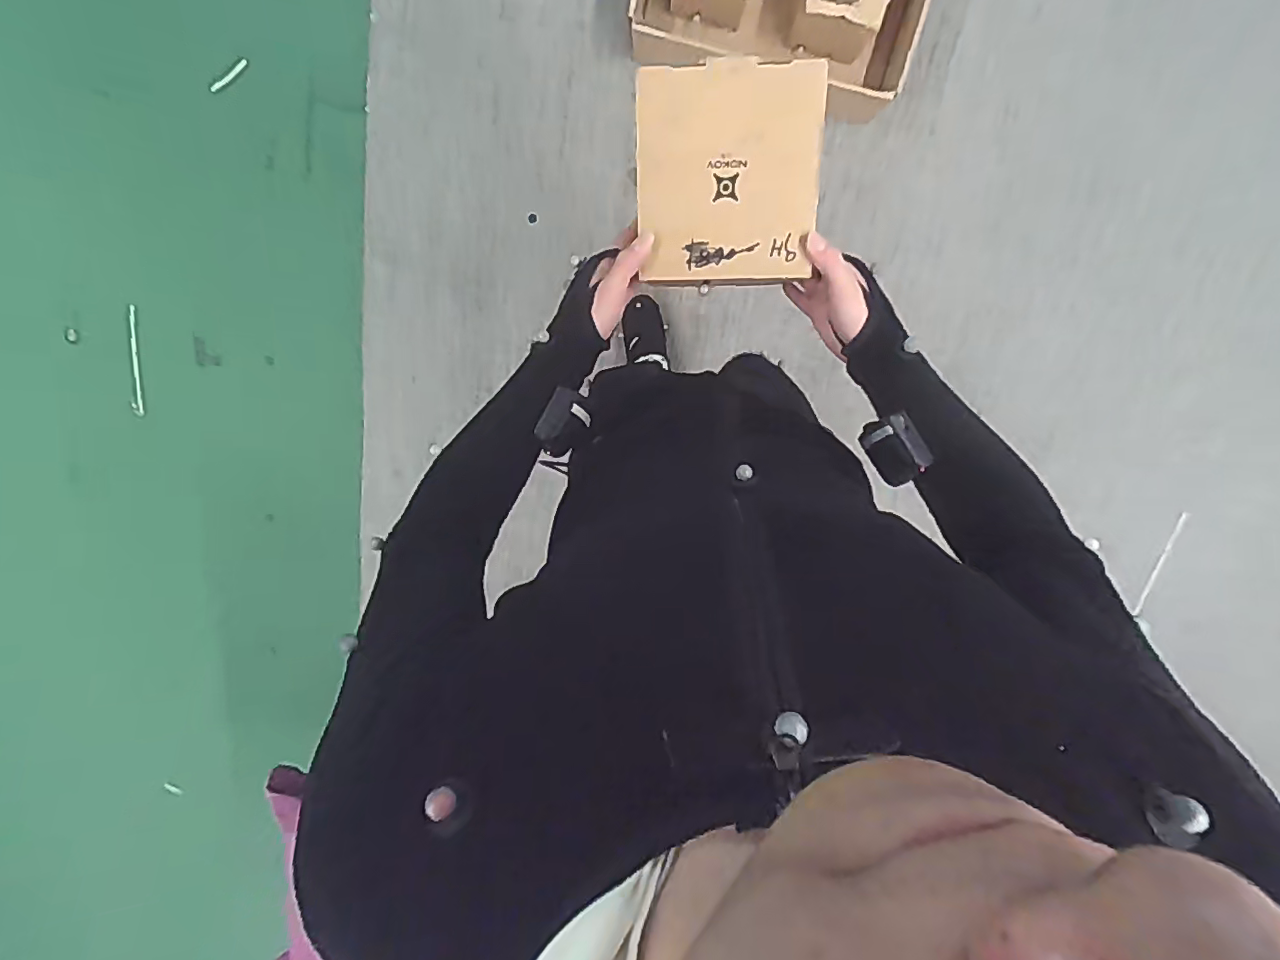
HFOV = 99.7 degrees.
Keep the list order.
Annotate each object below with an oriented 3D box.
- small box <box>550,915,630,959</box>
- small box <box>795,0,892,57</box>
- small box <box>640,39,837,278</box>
[{"bbox_3d":[-0.112,1.057,1.120,0.168,0.176,0.179,7,107,-2],"label":"small box"},{"bbox_3d":[0.447,-1.057,1.160,0.168,0.176,0.179,13,106,-2],"label":"small box"},{"bbox_3d":[0.086,-0.305,0.551,0.168,0.176,0.179,1,107,4],"label":"small box"}]
